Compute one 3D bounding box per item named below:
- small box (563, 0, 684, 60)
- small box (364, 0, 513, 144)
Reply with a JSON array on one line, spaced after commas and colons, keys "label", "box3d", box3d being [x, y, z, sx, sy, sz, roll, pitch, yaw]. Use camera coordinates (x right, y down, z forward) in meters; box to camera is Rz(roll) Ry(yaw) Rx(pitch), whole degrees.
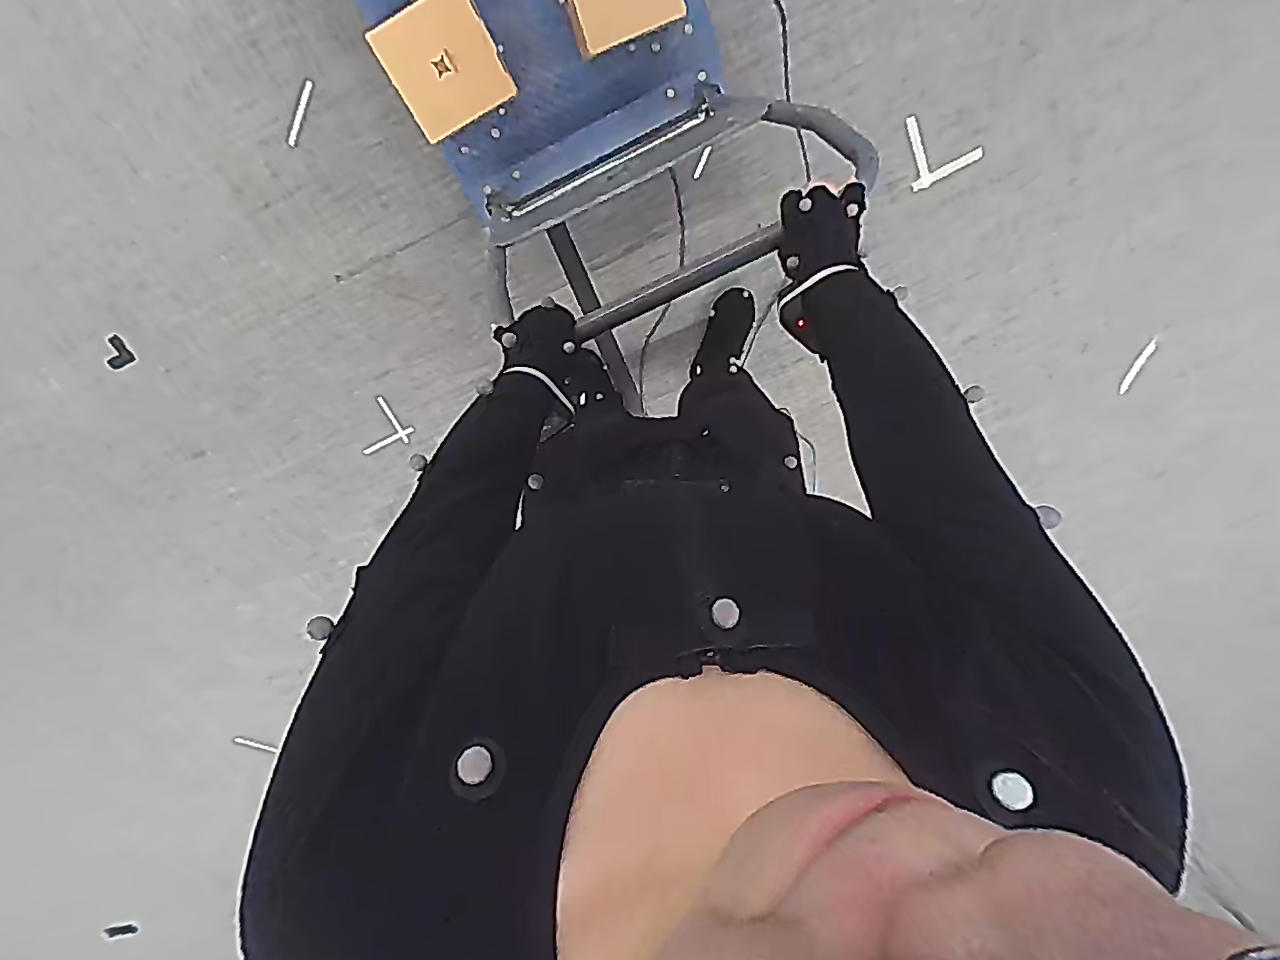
[{"label": "small box", "box3d": [-0.044, -0.839, 0.912, 0.179, 0.176, 0.168, -21, 126, 3]}, {"label": "small box", "box3d": [-0.334, -0.713, 0.941, 0.179, 0.176, 0.168, -28, 125, 6]}]
